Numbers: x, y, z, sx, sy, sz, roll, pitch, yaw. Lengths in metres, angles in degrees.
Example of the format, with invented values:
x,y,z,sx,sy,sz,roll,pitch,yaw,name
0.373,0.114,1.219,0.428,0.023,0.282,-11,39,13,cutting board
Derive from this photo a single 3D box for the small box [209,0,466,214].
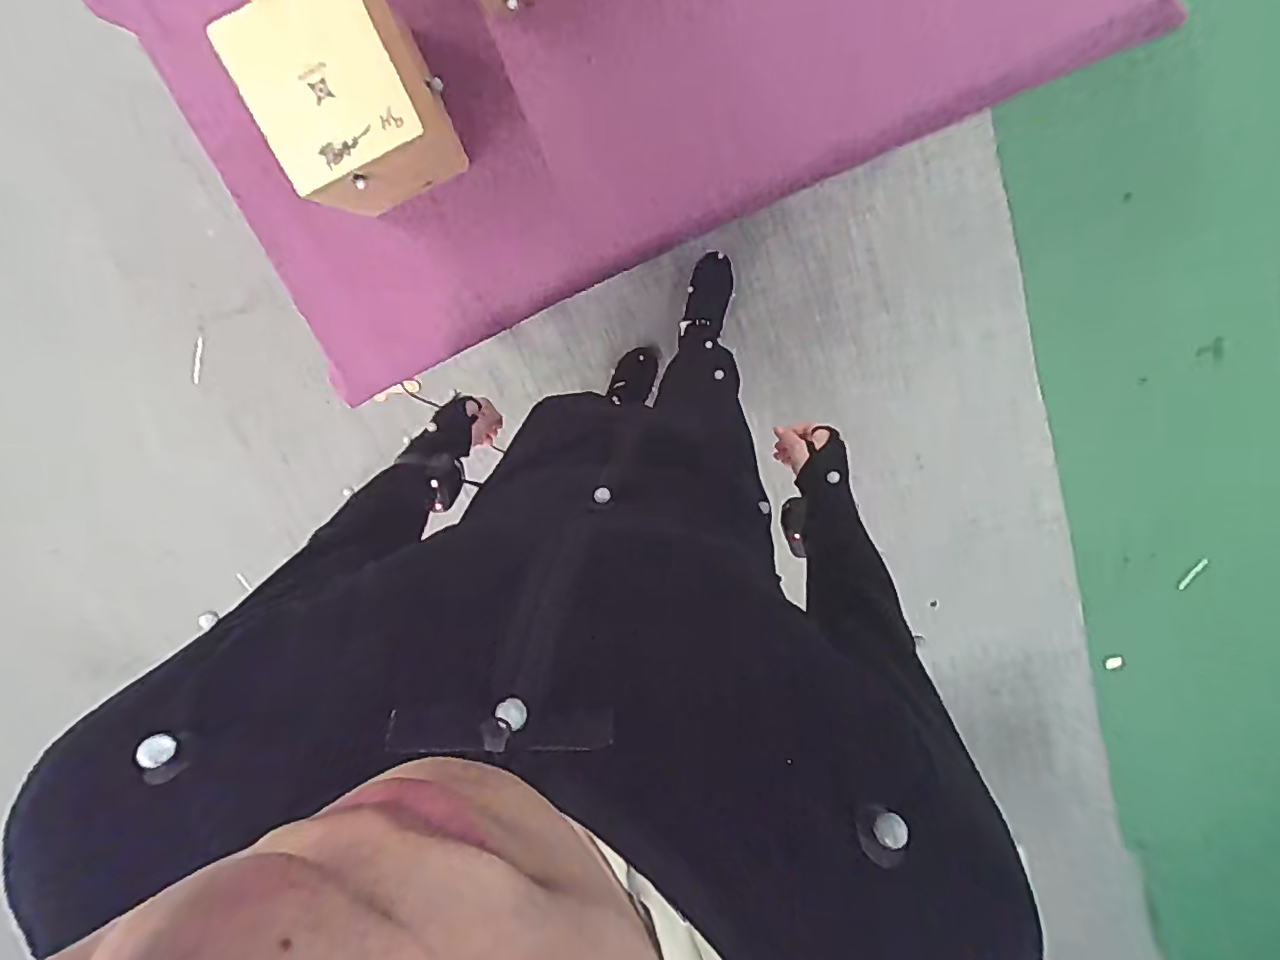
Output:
x,y,z,sx,sy,sz,roll,pitch,yaw,name
-0.341,-0.449,0.650,0.168,0.176,0.179,-22,106,9,small box
